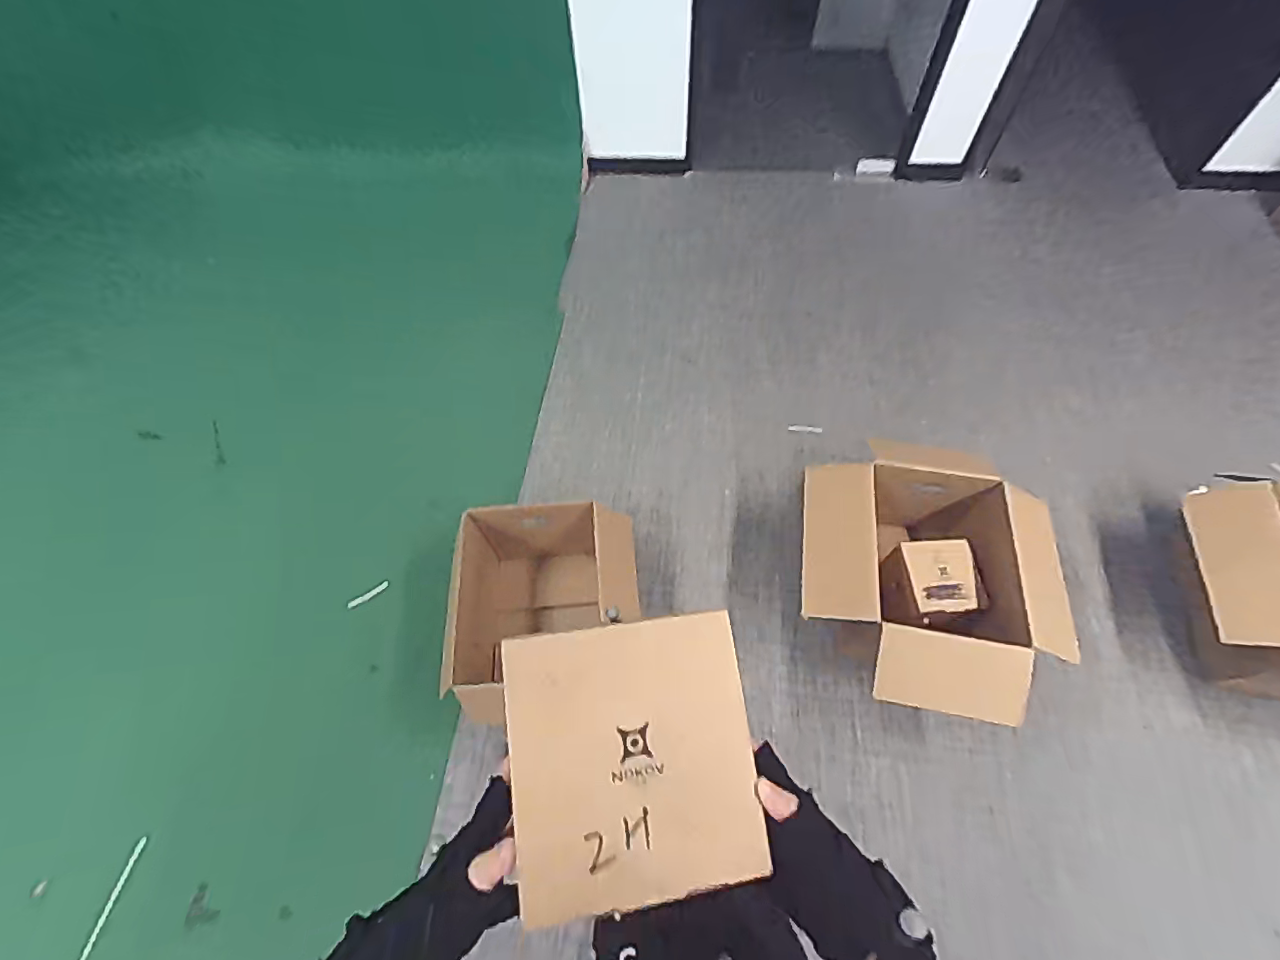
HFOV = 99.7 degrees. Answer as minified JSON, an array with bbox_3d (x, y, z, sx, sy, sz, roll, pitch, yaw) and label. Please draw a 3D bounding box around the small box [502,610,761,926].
[{"bbox_3d":[-0.020,0.211,0.445,0.168,0.176,0.179,-5,74,-9],"label":"small box"}]
